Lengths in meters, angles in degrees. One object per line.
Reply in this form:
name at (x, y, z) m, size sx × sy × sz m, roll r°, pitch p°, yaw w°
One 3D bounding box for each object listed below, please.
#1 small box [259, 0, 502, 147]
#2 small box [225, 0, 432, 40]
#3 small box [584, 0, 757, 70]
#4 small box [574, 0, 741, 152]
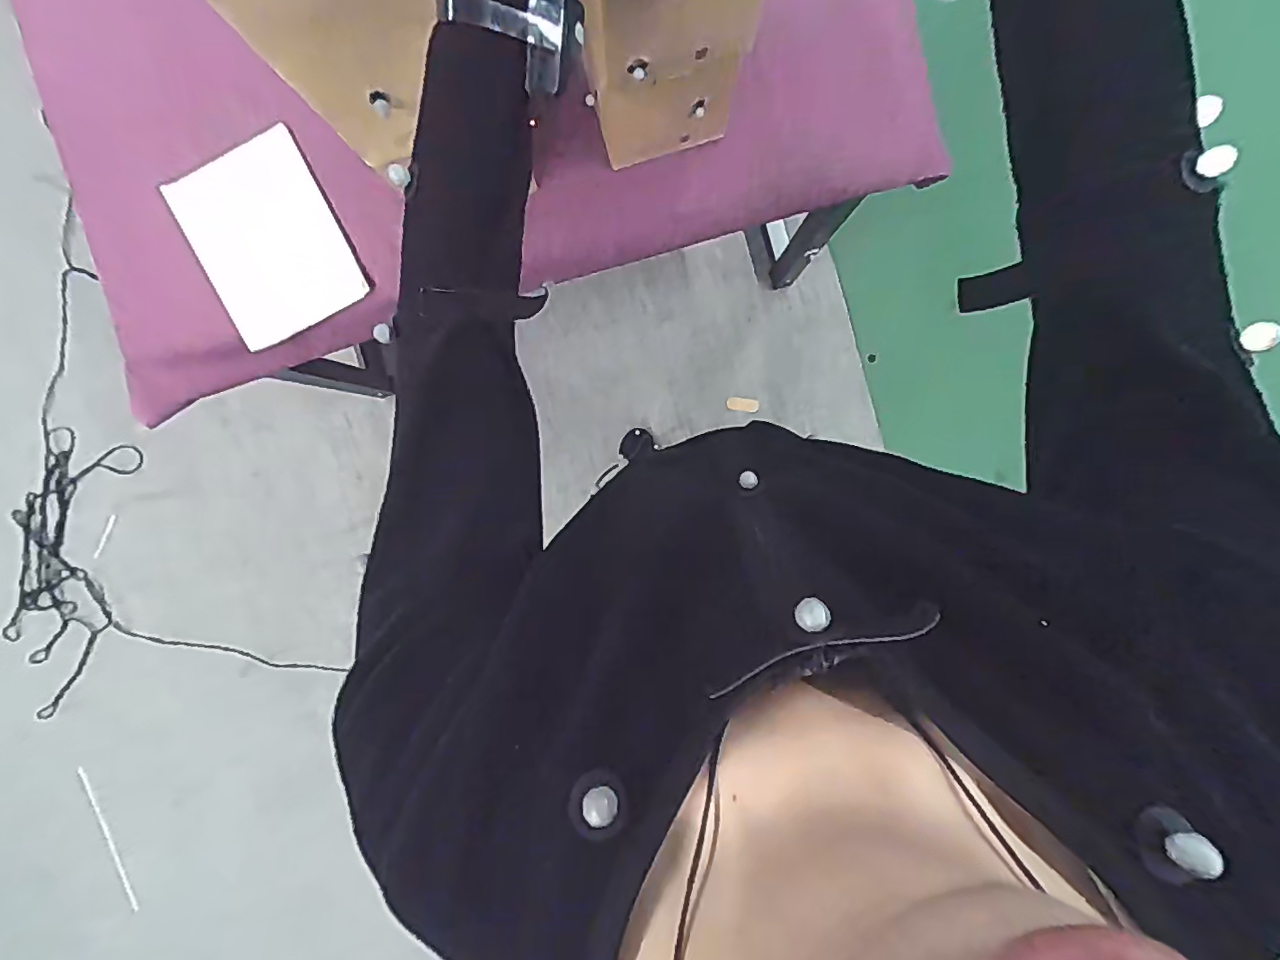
small box at (-0.248, -0.456, 0.519) m, size 0.168 × 0.176 × 0.179 m, roll -14°, pitch 92°, yaw 2°
small box at (-0.242, -0.447, 0.354) m, size 0.179 × 0.176 × 0.168 m, roll -13°, pitch 91°, yaw 3°
small box at (0.020, -0.534, 0.509) m, size 0.168 × 0.176 × 0.179 m, roll -16°, pitch 92°, yaw 0°
small box at (0.017, -0.544, 0.672) m, size 0.168 × 0.176 × 0.179 m, roll -15°, pitch 92°, yaw 1°
